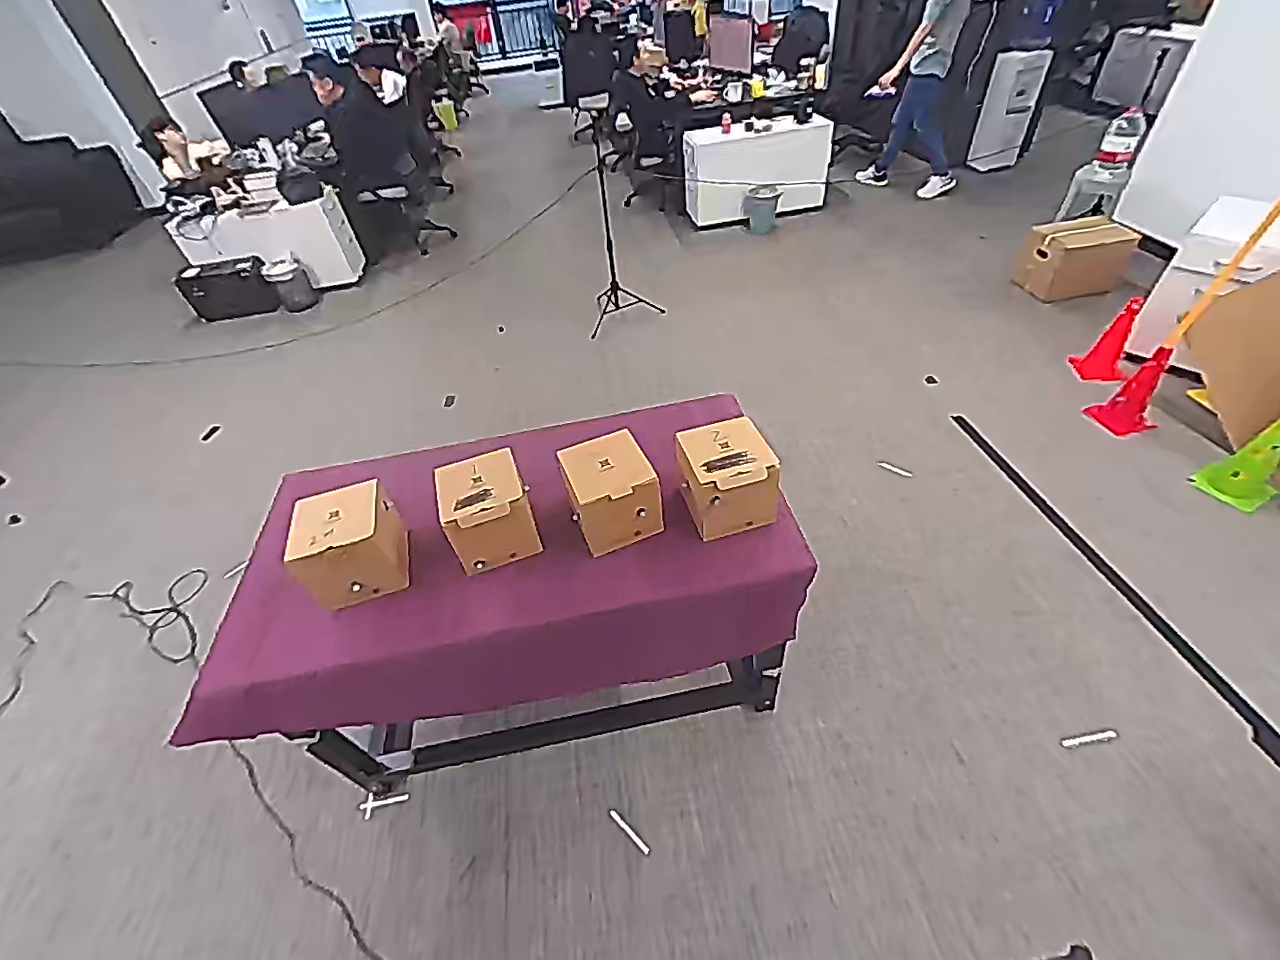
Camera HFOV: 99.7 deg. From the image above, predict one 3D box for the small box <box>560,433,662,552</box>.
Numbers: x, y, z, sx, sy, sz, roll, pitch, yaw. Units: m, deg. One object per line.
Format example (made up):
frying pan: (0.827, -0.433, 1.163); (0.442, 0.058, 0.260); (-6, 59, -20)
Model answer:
small box: (-0.059, 0.033, 1.168); (0.168, 0.176, 0.179); (-19, 45, -12)

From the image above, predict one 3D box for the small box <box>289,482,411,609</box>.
small box: (-0.592, 0.136, 1.130); (0.168, 0.176, 0.179); (-16, 45, -9)

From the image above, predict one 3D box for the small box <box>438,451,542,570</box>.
small box: (-0.319, 0.071, 1.162); (0.168, 0.176, 0.179); (-17, 44, -10)
